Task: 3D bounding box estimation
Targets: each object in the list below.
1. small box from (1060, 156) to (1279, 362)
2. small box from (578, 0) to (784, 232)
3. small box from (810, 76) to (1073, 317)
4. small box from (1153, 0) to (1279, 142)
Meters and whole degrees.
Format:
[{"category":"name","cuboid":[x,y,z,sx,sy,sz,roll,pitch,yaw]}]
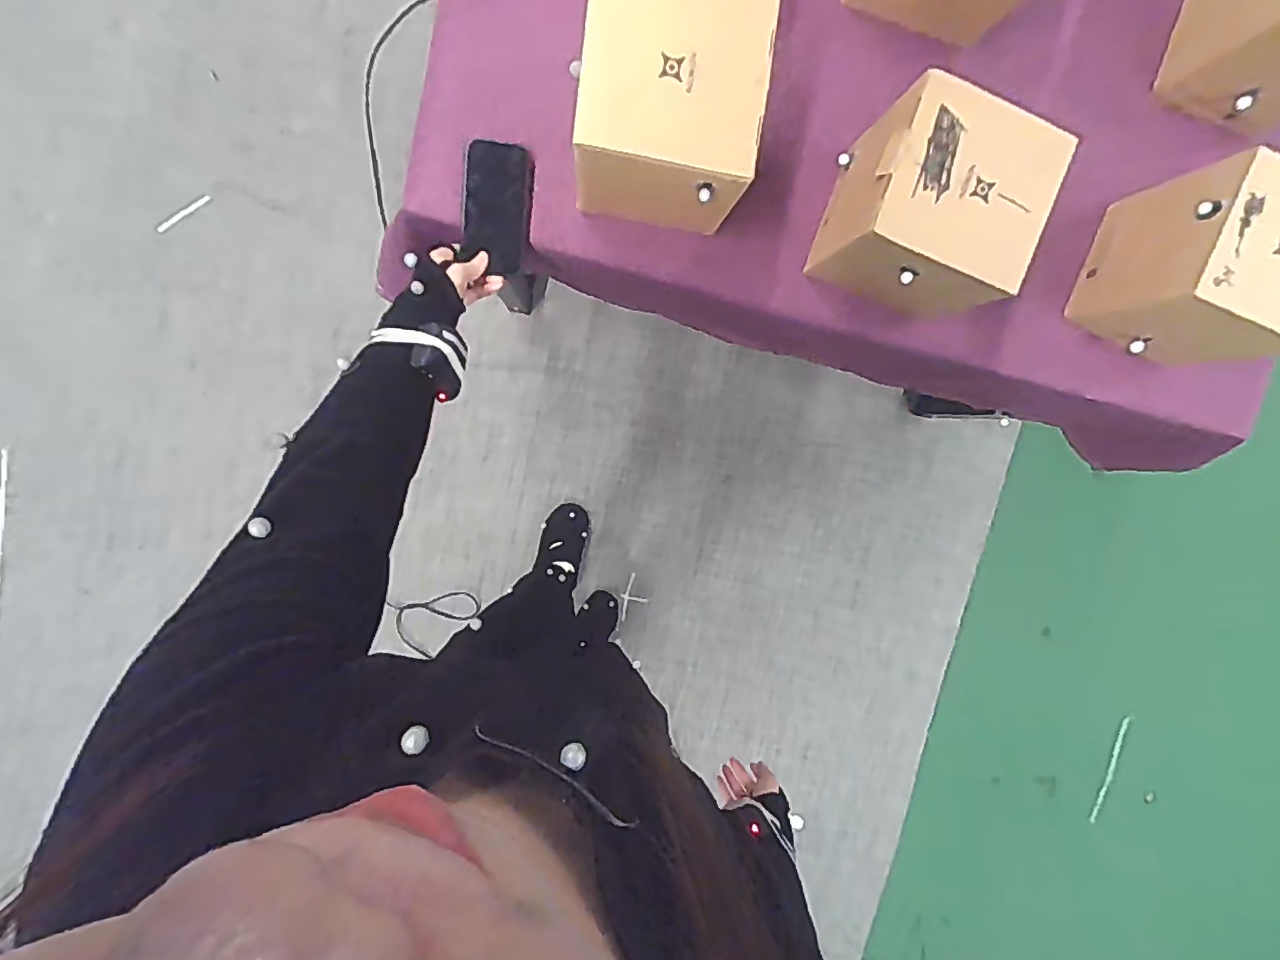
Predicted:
[{"category":"small box","cuboid":[0.692,-0.255,0.675,0.179,0.176,0.168,20,94,-9]},{"category":"small box","cuboid":[0.029,-0.387,0.581,0.179,0.176,0.168,7,96,-9]},{"category":"small box","cuboid":[0.328,-0.304,0.626,0.179,0.176,0.168,19,95,-10]},{"category":"small box","cuboid":[0.782,-0.553,0.645,0.168,0.176,0.179,17,96,-8]}]
